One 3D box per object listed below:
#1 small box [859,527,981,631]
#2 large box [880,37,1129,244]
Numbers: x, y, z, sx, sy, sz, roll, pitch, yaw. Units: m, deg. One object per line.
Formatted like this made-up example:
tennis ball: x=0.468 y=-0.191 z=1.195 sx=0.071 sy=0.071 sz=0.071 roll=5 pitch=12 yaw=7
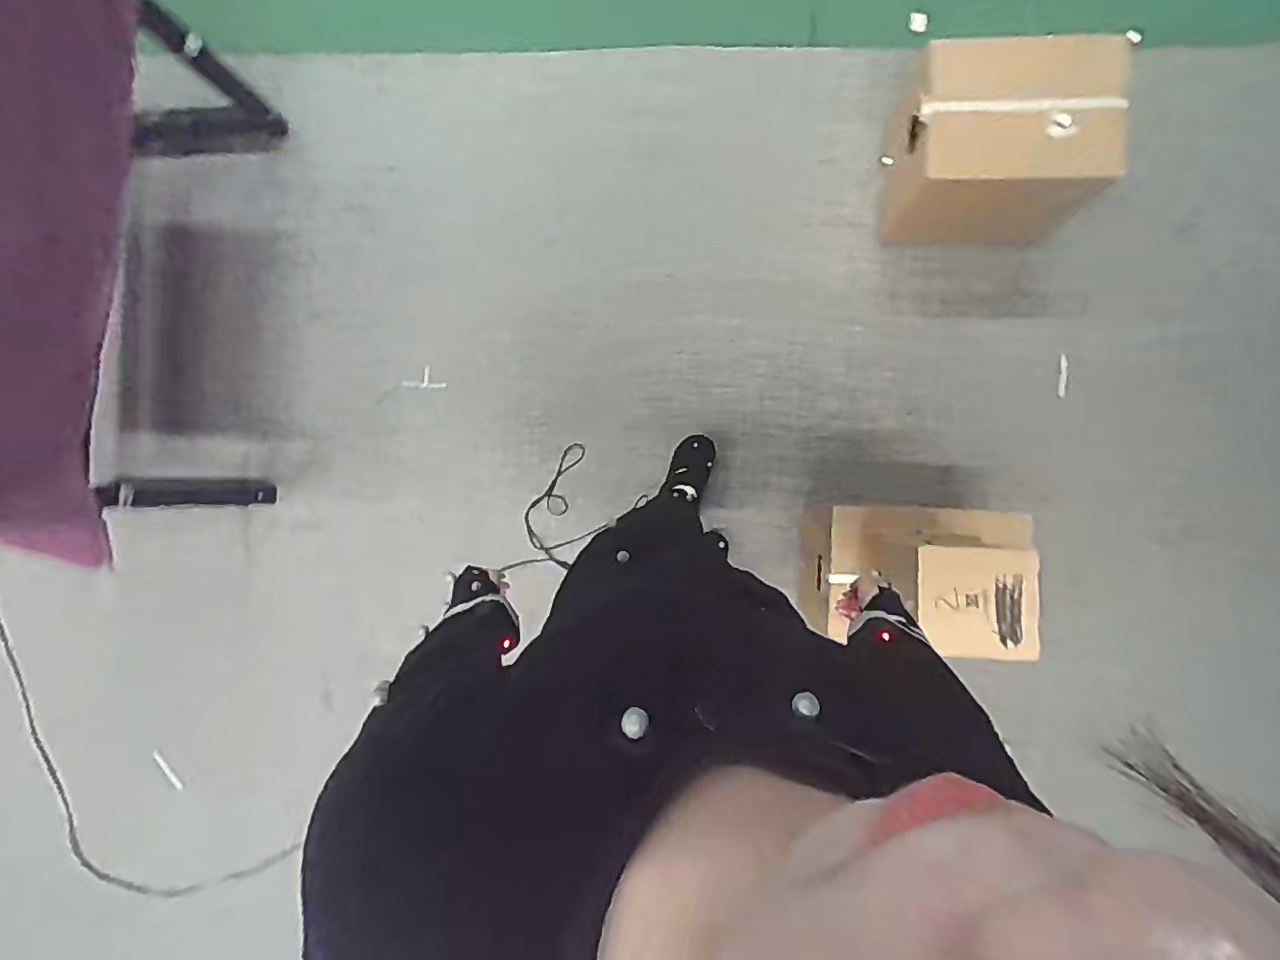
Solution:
small box: x=0.541 y=0.187 z=1.062 sx=0.168 sy=0.176 sz=0.179 roll=1 pitch=87 yaw=6
large box: x=0.836 y=-0.788 z=1.301 sx=0.408 sy=0.320 sz=0.320 roll=3 pitch=89 yaw=4
